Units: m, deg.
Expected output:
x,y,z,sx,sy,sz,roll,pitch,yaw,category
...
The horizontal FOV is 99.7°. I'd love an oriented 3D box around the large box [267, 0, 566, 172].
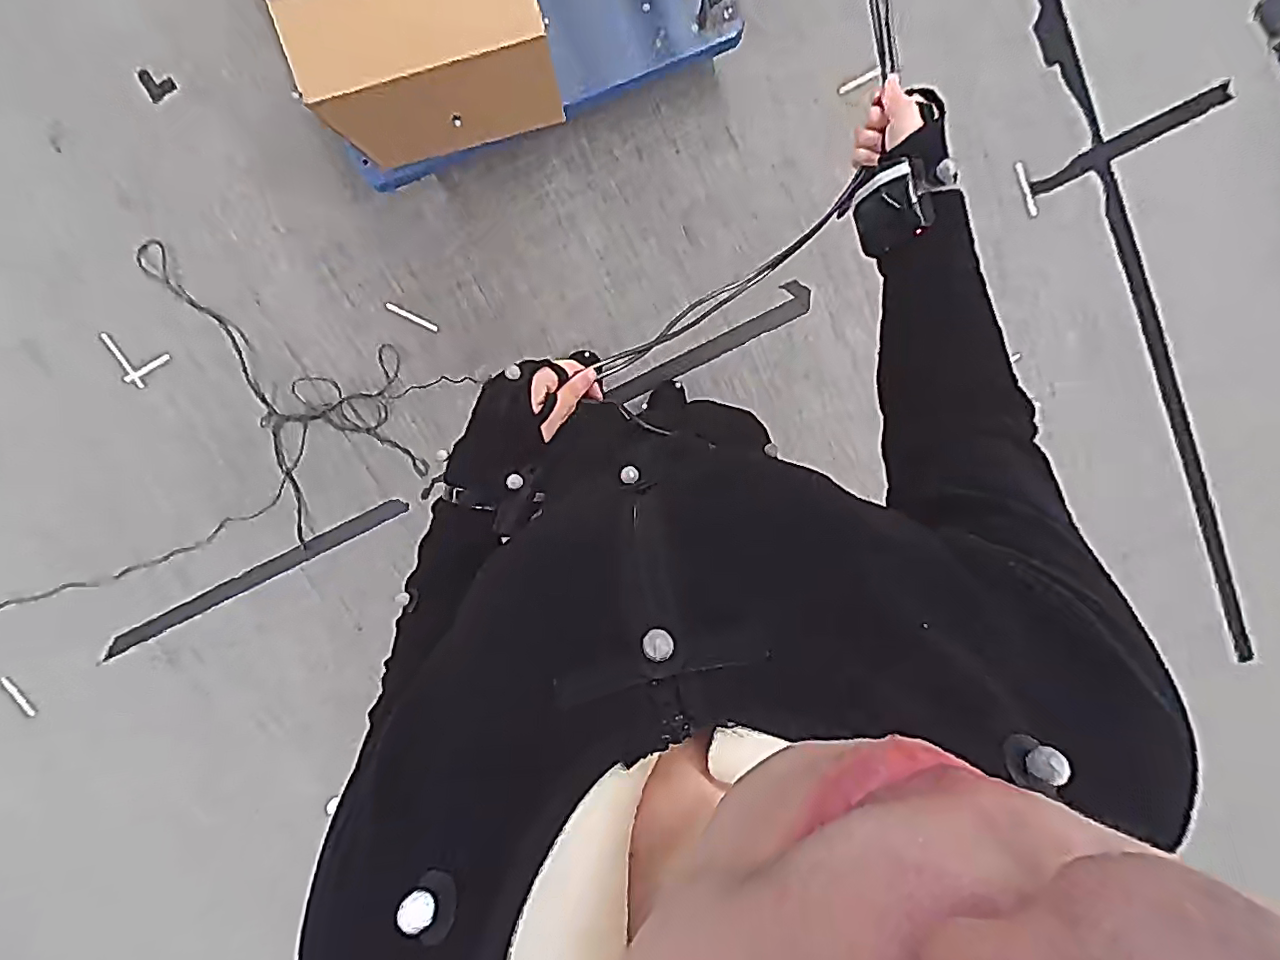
x,y,z,sx,sy,sz,roll,pitch,yaw,category
-0.381,-0.812,0.966,0.408,0.320,0.320,-15,101,2,large box
